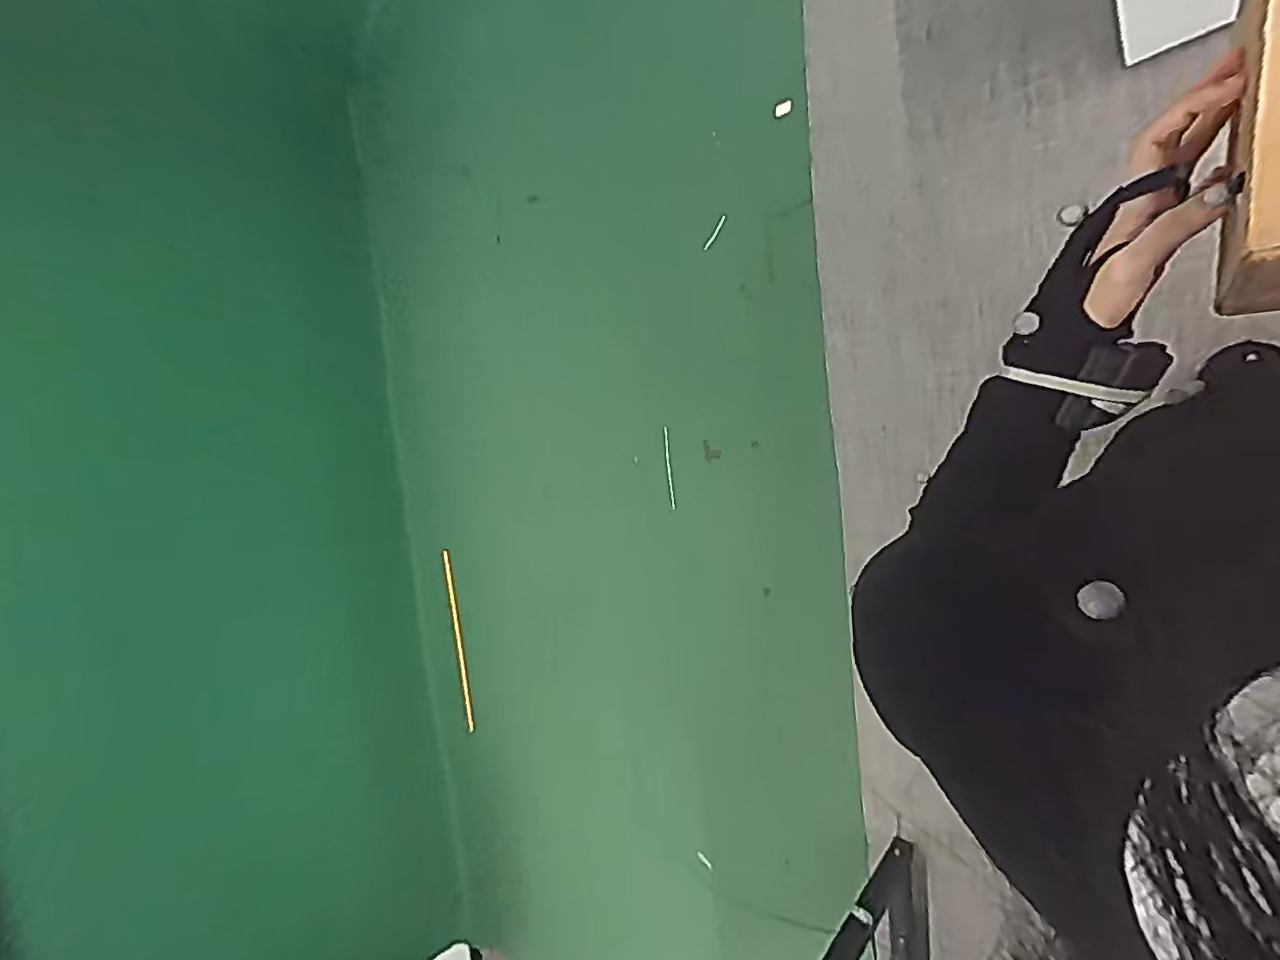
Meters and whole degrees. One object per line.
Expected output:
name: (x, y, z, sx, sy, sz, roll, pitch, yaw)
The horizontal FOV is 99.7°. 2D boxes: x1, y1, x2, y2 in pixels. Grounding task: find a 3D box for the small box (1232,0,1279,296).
small box: (0.382, -0.196, 0.230, 0.168, 0.176, 0.179, 2, 95, 44)
